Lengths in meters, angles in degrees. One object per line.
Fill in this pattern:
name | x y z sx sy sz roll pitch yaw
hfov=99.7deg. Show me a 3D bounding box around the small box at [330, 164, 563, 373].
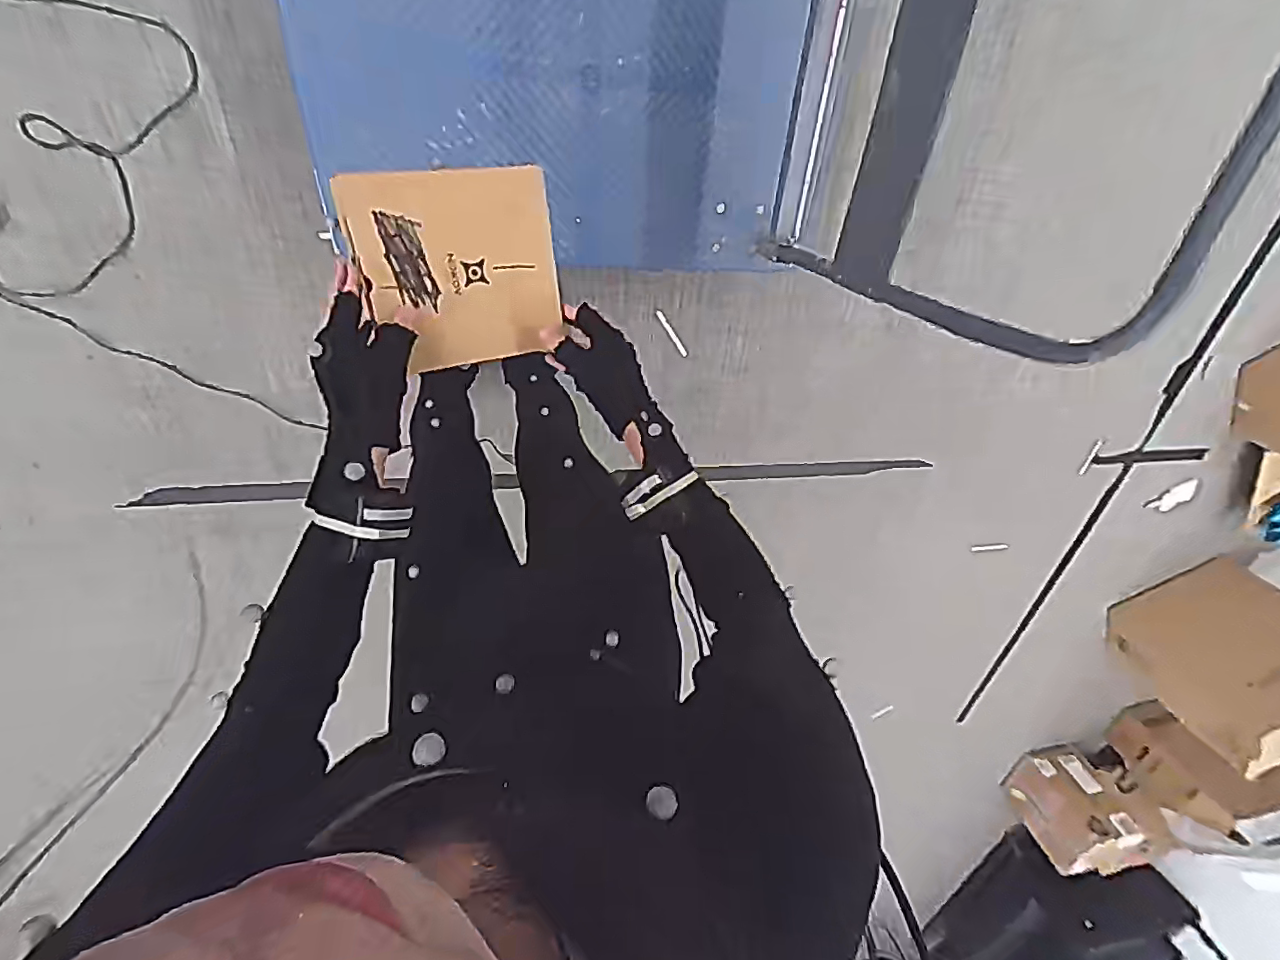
small box | -0.194 -0.216 0.545 0.179 0.176 0.168 -15 119 -24
